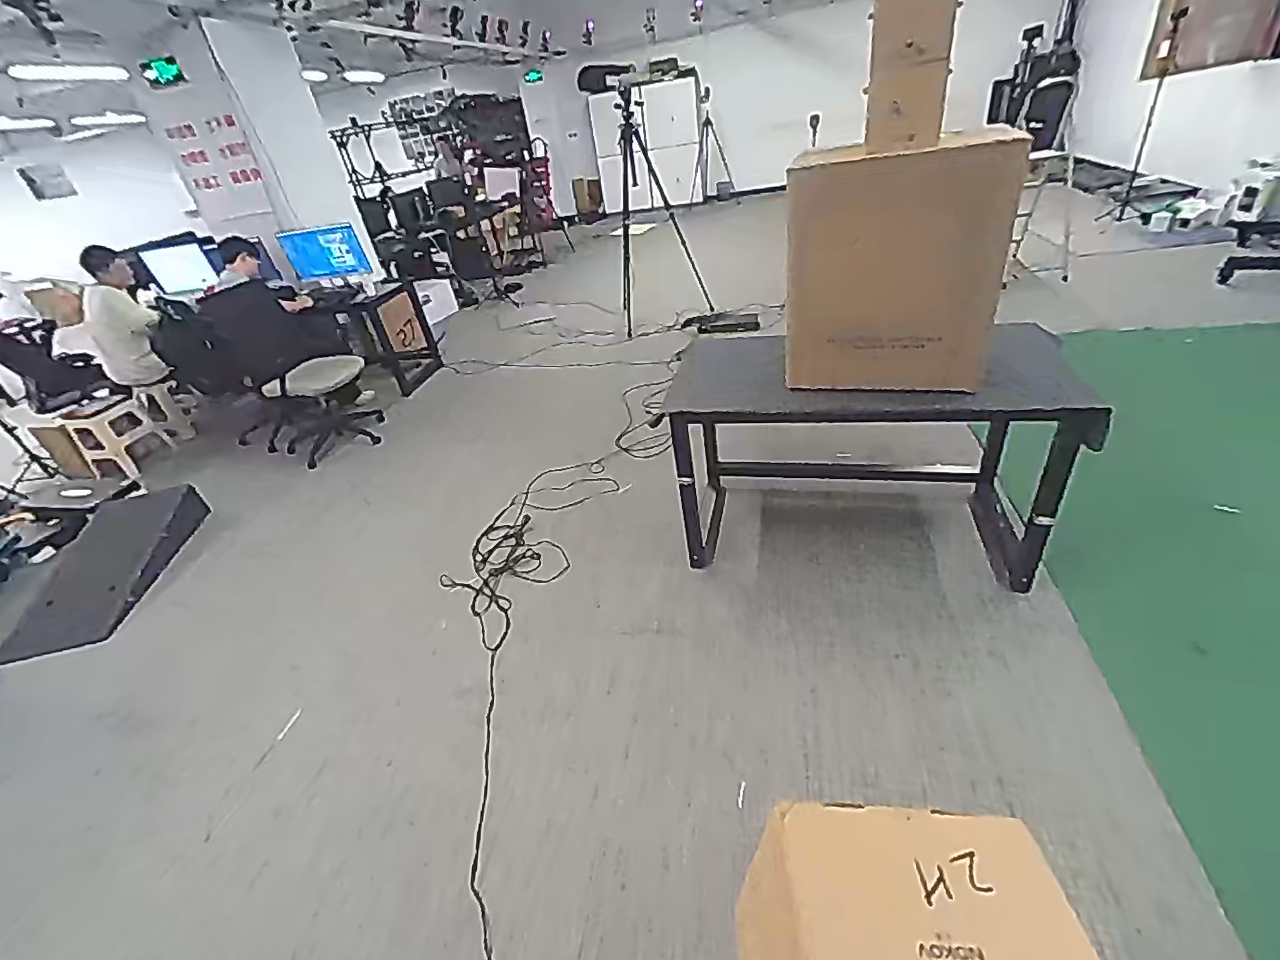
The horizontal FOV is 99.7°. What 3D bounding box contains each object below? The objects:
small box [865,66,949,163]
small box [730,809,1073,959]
[{"bbox_3d":[0.648,-0.886,1.319,0.168,0.176,0.179,6,38,23],"label":"small box"},{"bbox_3d":[0.155,0.342,0.331,0.168,0.176,0.179,5,30,-1],"label":"small box"}]
